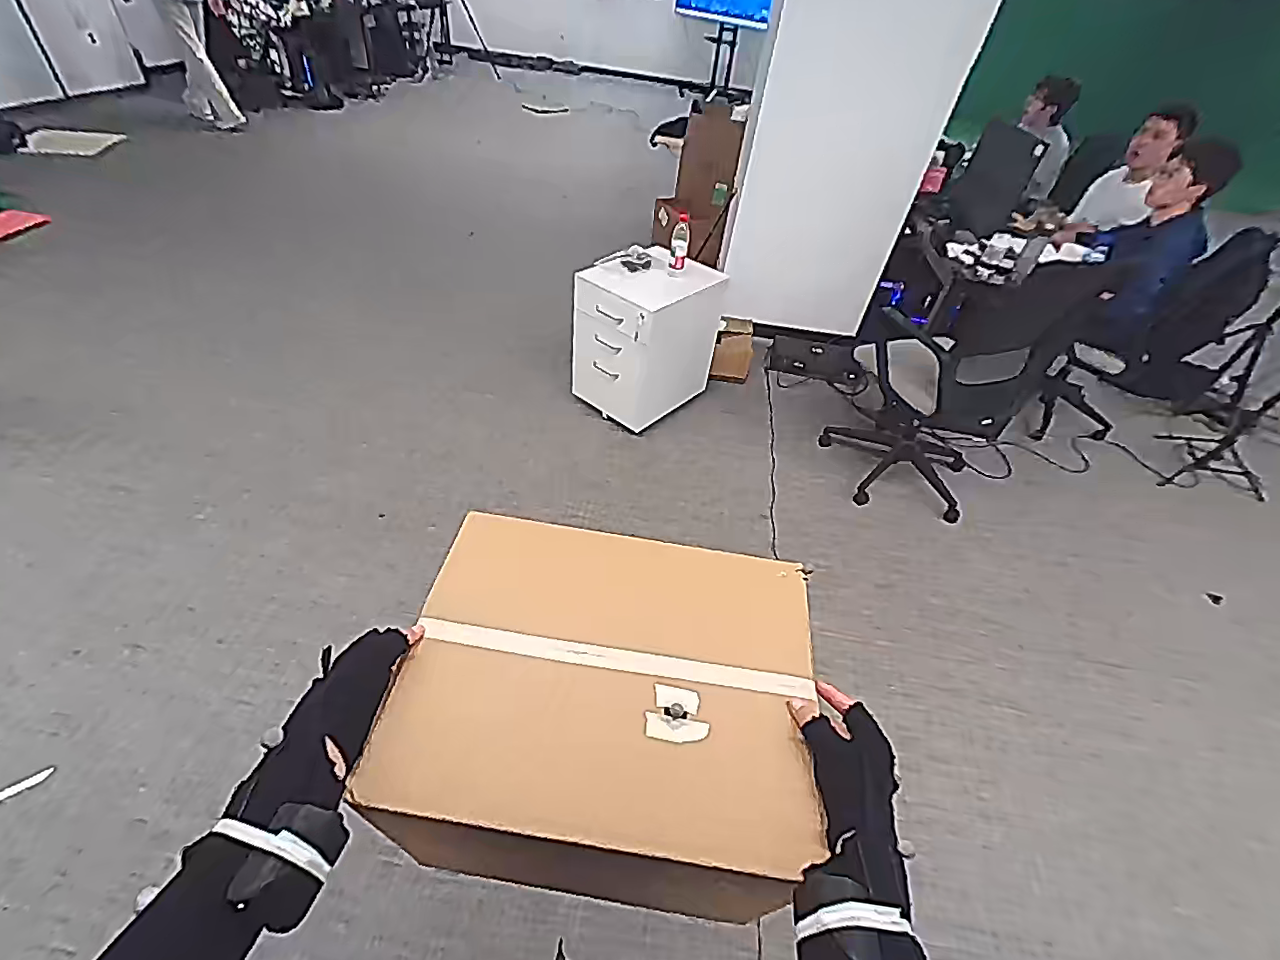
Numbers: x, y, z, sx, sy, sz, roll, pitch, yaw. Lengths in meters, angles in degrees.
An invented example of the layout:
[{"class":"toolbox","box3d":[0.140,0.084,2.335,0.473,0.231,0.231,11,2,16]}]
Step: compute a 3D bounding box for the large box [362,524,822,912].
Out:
[{"class":"large box","box3d":[-0.040,0.292,0.663,0.408,0.320,0.320,9,47,1]}]
